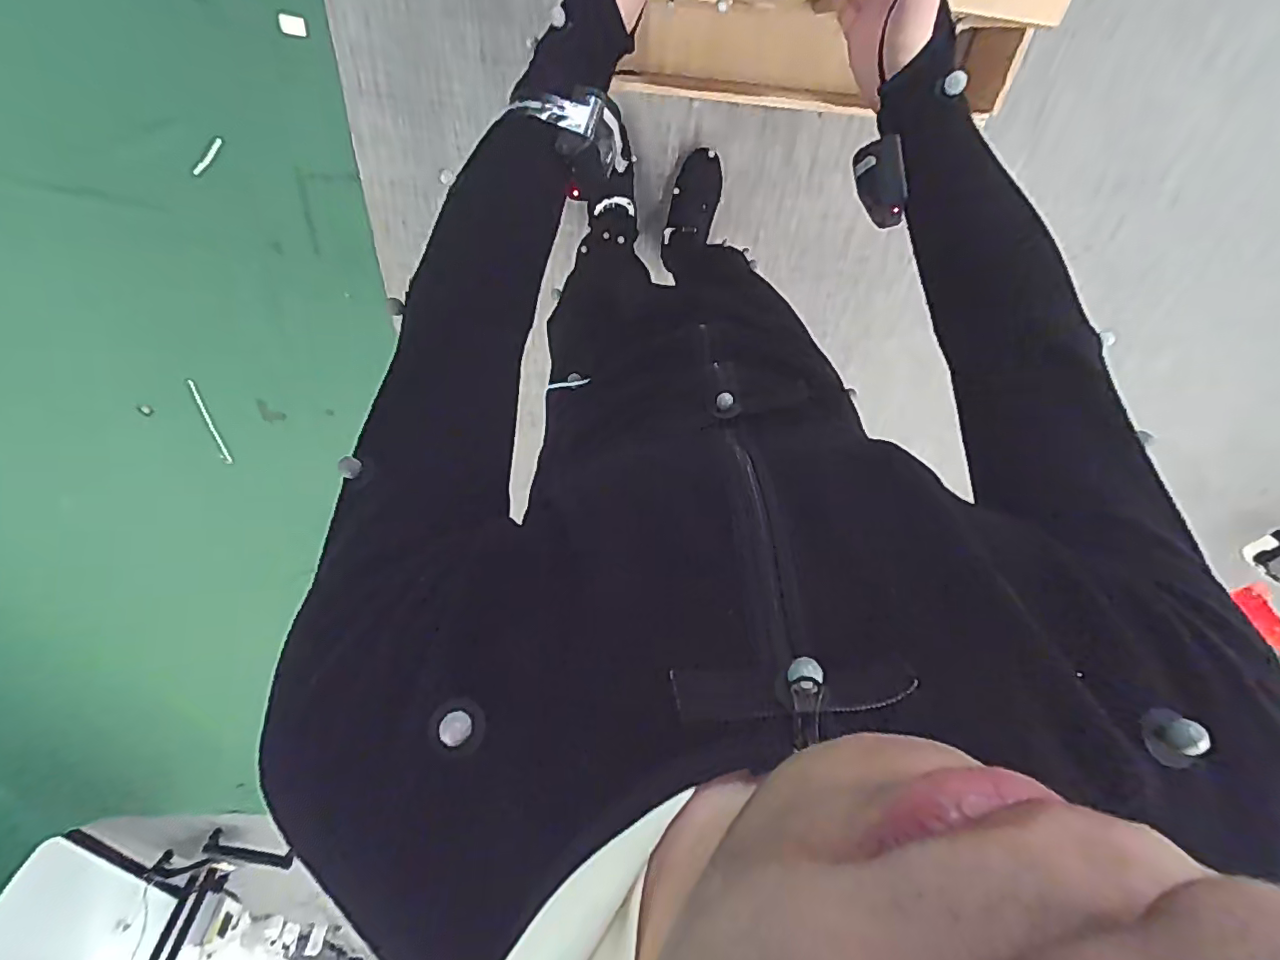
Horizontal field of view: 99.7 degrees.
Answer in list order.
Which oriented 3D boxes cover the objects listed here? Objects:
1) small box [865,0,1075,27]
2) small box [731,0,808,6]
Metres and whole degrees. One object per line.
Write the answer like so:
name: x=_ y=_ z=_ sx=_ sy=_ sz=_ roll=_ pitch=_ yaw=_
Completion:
small box: x=0.371 y=-0.602 z=0.578 sx=0.179 sy=0.176 sz=0.168 roll=3 pitch=131 yaw=-7
small box: x=0.111 y=-0.612 z=0.550 sx=0.168 sy=0.176 sz=0.179 roll=3 pitch=129 yaw=-5
